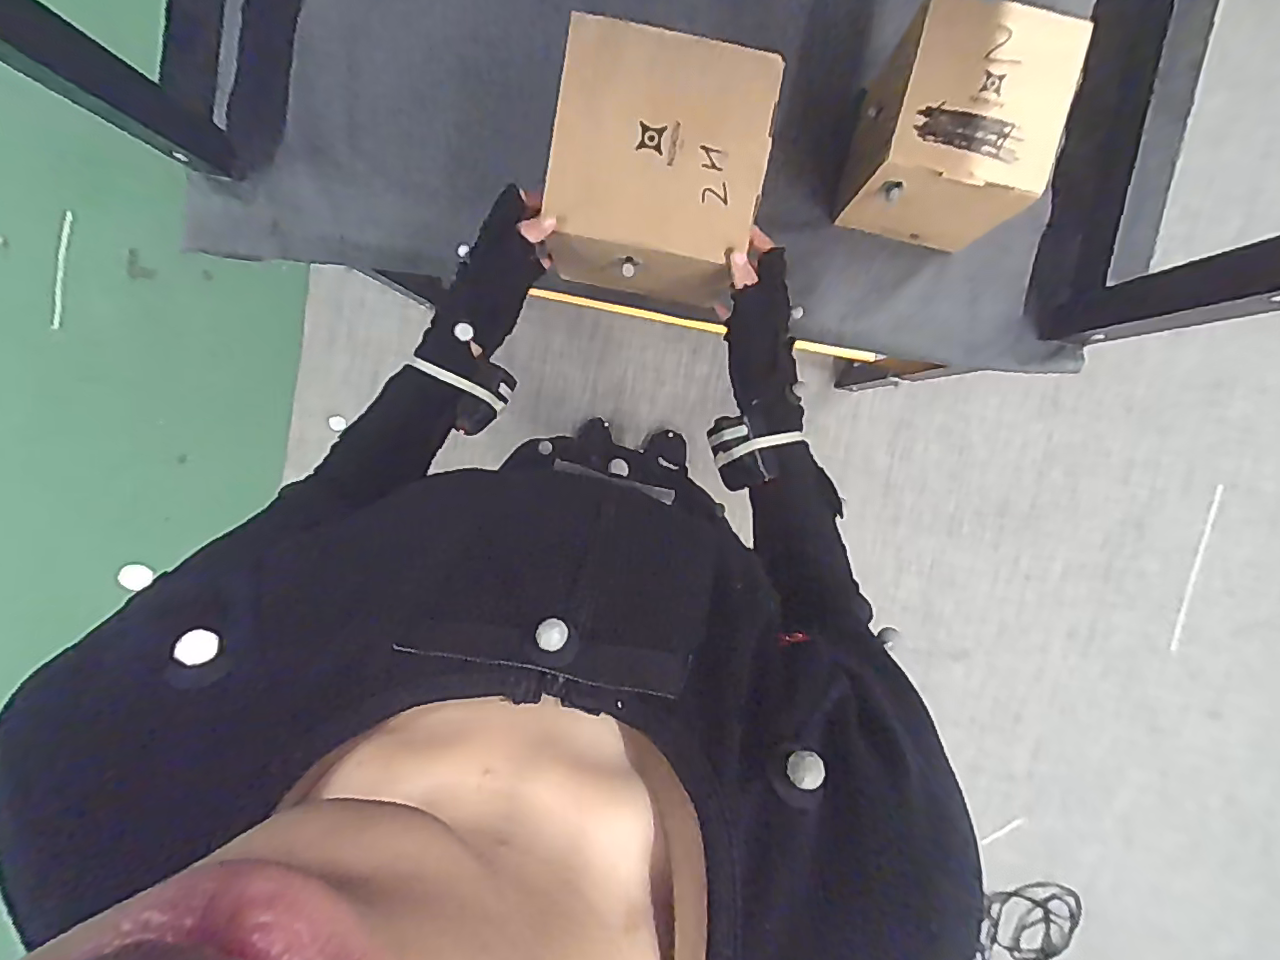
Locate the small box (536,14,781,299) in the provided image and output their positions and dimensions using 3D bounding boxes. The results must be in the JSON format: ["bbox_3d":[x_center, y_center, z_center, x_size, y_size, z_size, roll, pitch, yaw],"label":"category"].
[{"bbox_3d":[0.012,-0.283,0.518,0.179,0.176,0.168,10,97,-3],"label":"small box"}]
